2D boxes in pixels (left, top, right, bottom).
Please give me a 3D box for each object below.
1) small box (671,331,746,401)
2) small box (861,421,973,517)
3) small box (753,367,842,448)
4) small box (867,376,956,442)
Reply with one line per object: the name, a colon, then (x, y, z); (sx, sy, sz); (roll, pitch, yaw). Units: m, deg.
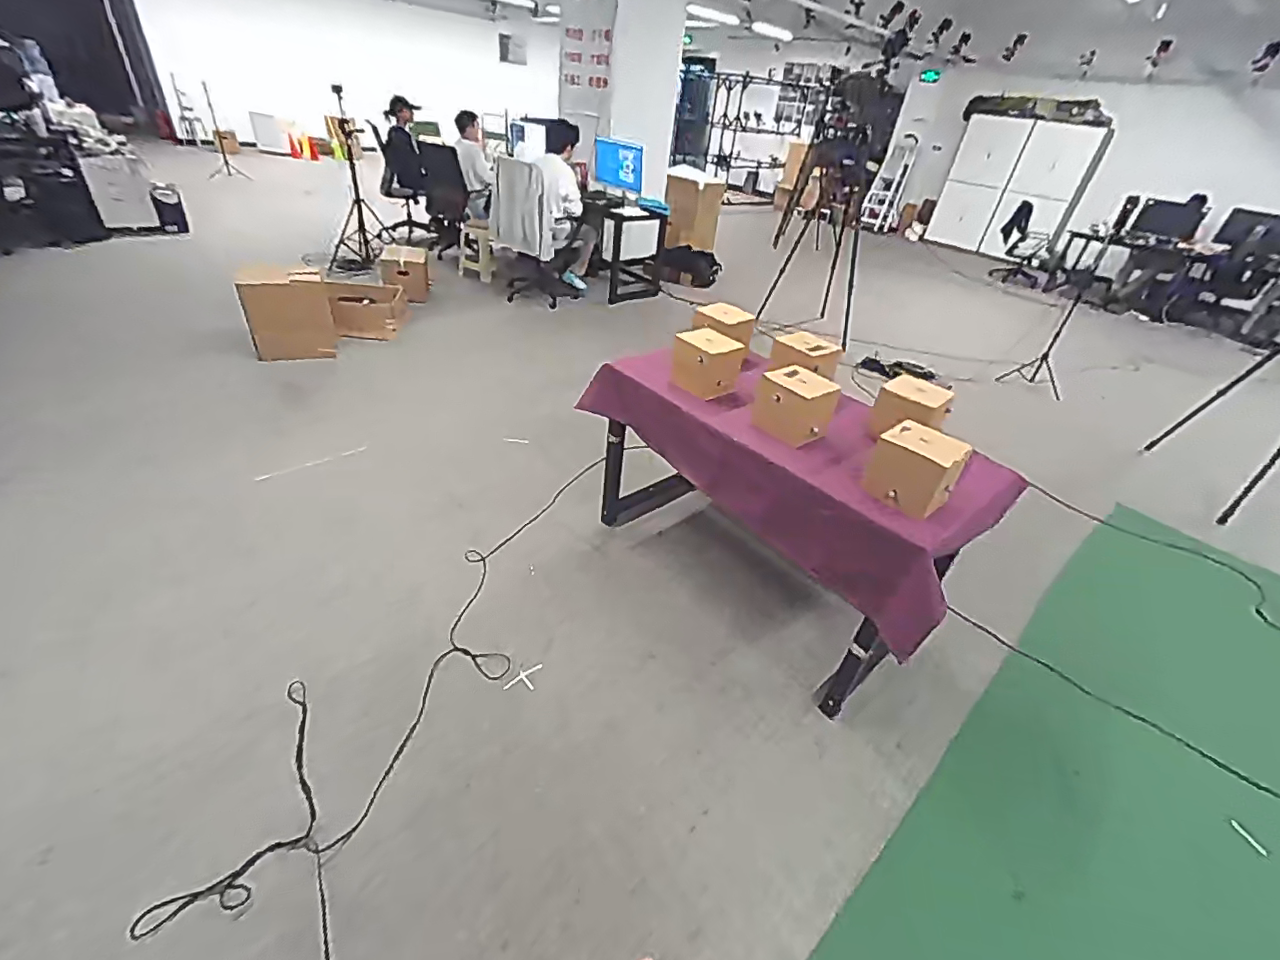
small box: (0.225, -0.386, 1.826); (0.168, 0.176, 0.179); (-22, 45, -35)
small box: (0.709, -0.024, 1.395); (0.168, 0.176, 0.179); (-23, 45, -37)
small box: (0.468, -0.219, 1.632); (0.168, 0.176, 0.179); (-20, 44, -34)
small box: (0.831, -0.199, 1.667); (0.179, 0.176, 0.168); (-26, 46, -37)
